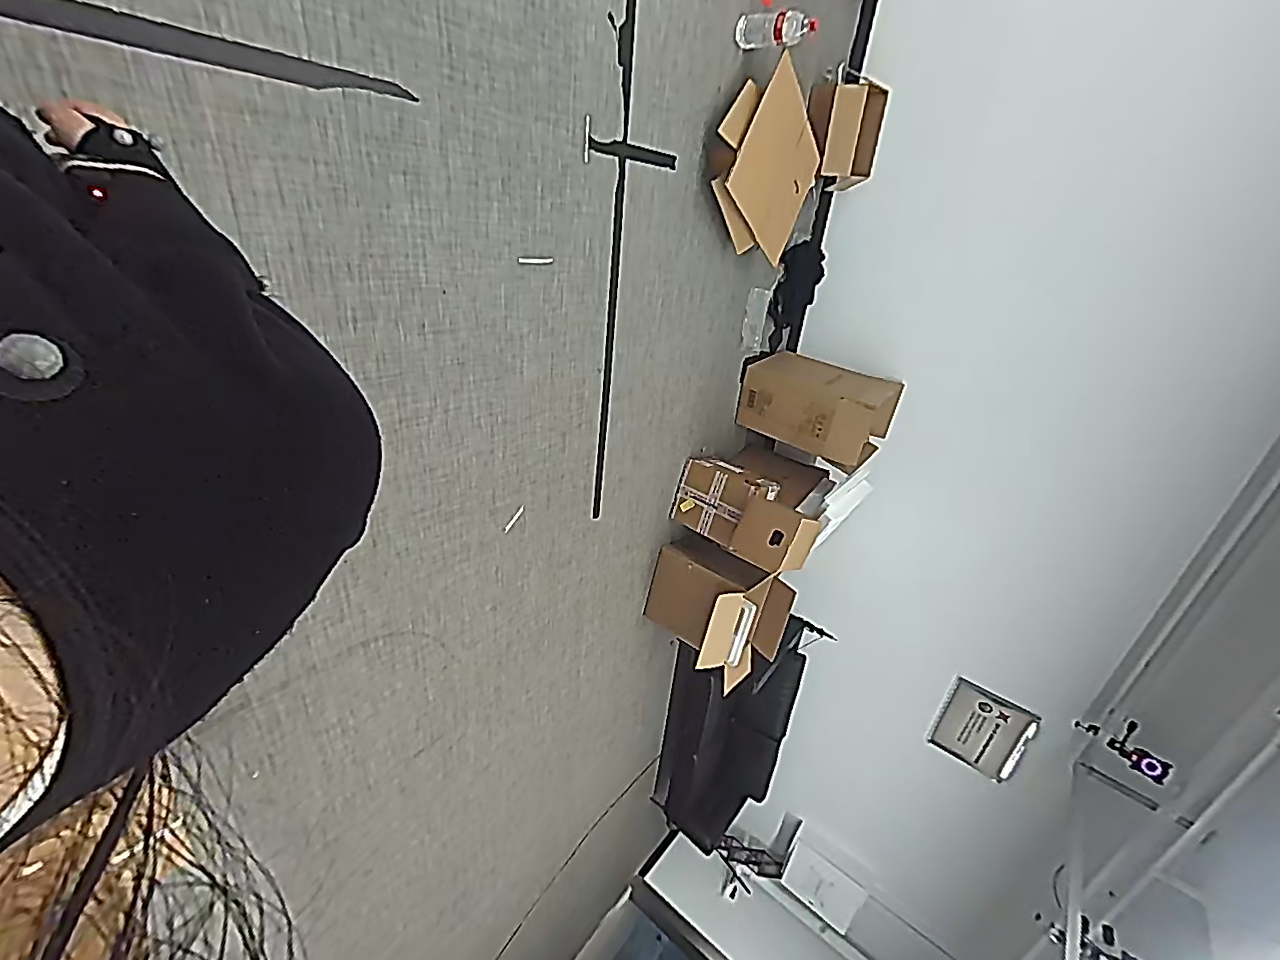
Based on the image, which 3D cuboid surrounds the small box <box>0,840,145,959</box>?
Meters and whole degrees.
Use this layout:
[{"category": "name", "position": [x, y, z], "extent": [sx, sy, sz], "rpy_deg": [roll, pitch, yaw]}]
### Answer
[{"category": "small box", "position": [-1.139, 0.872, 1.071], "extent": [0.179, 0.176, 0.168], "rpy_deg": [-26, 130, -45]}]
